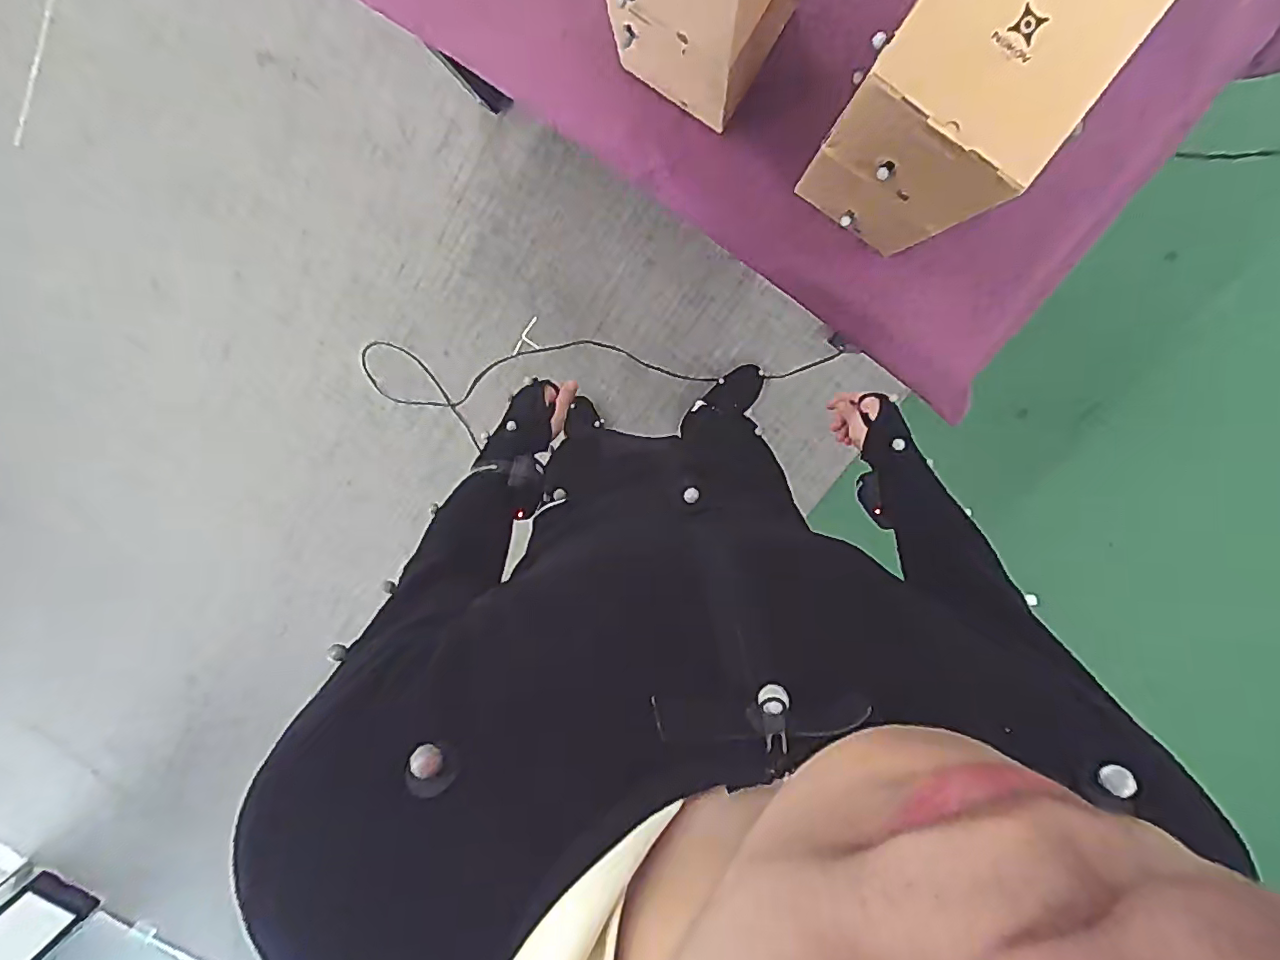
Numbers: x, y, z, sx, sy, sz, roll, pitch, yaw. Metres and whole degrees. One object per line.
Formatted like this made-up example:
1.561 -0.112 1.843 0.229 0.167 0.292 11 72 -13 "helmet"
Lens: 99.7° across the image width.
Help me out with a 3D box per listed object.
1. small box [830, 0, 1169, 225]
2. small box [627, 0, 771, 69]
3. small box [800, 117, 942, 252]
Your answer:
0.308 -0.376 0.509 0.168 0.176 0.179 33 105 -4 "small box"
0.066 -0.532 0.489 0.168 0.176 0.179 33 104 -4 "small box"
0.321 -0.414 0.667 0.168 0.176 0.179 33 105 -3 "small box"
